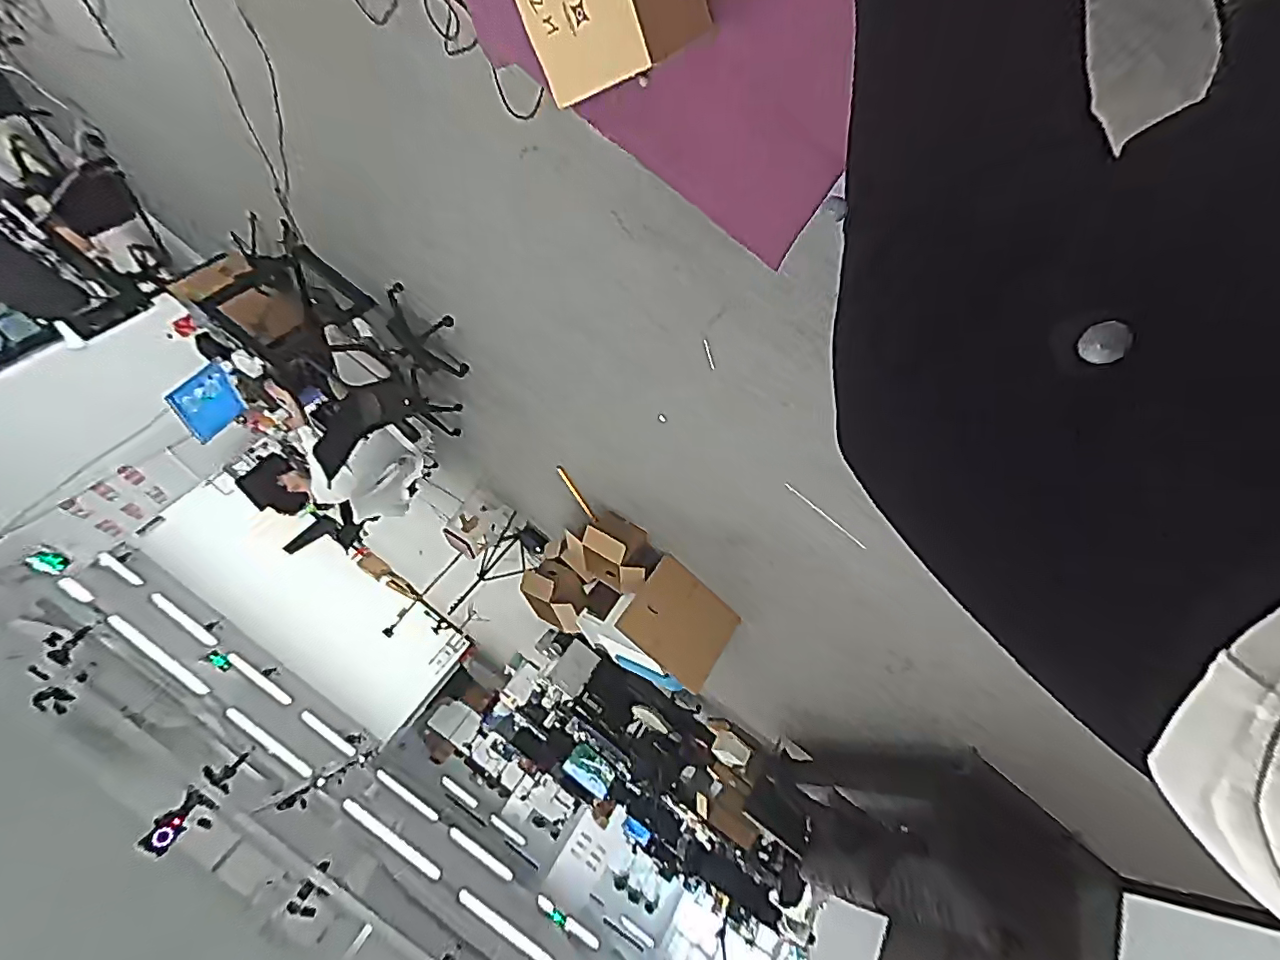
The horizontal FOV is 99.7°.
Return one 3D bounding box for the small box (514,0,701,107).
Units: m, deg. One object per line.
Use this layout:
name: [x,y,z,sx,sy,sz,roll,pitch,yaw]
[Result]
small box: [-0.038,-0.632,0.709,0.179,0.176,0.168,9,139,39]
